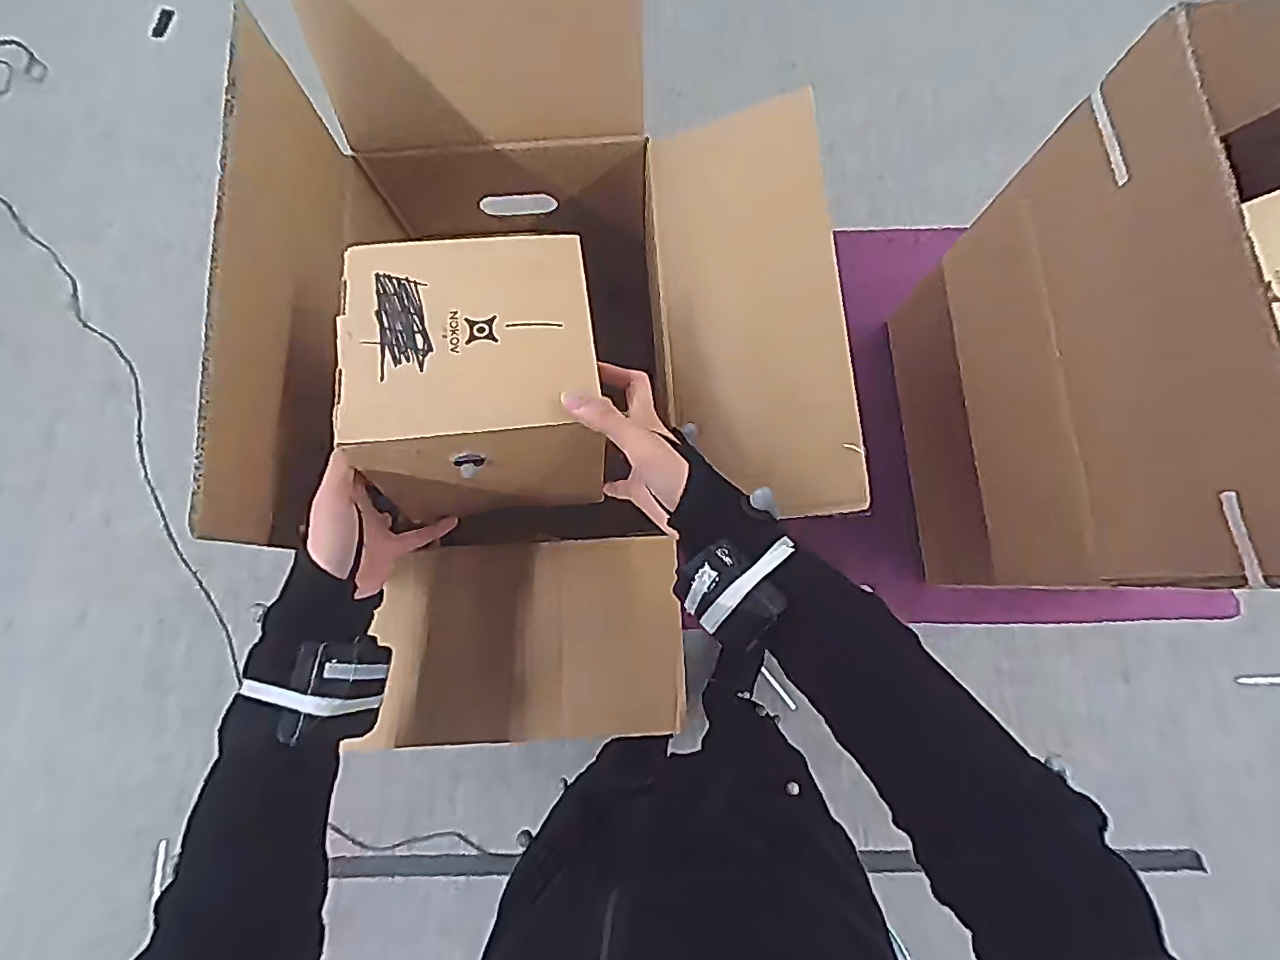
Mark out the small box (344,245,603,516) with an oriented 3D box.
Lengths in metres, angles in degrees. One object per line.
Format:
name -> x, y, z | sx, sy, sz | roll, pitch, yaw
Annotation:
small box -> -0.126, -0.075, 0.469 | 0.179, 0.176, 0.168 | -6, 69, -8
